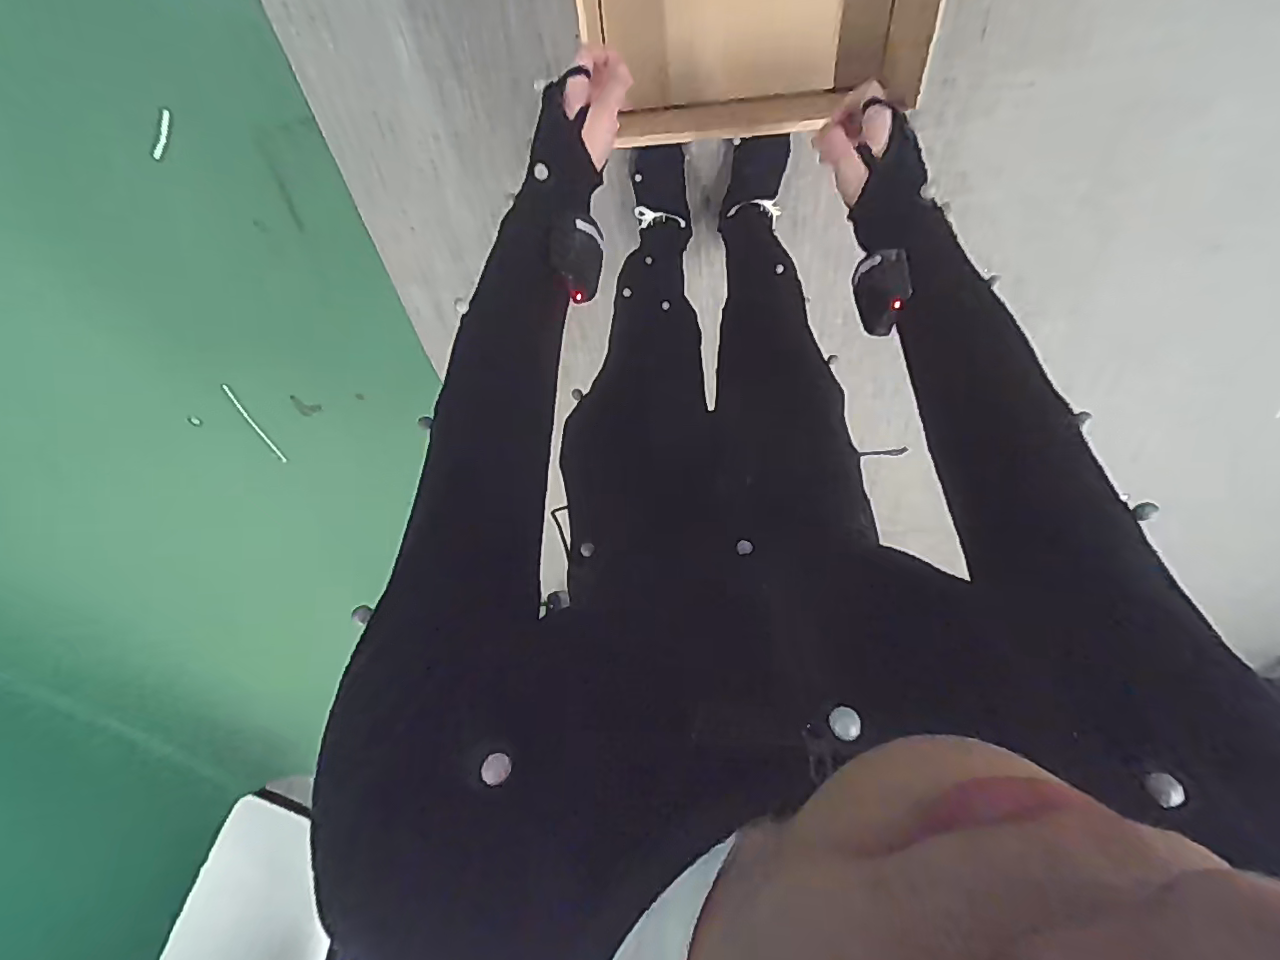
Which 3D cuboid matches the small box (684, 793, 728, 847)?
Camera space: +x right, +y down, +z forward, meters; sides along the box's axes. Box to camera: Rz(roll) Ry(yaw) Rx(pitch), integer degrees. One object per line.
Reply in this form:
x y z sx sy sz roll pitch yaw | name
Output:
0.247 1.292 2.075 0.168 0.176 0.179 -3 136 5 | small box
